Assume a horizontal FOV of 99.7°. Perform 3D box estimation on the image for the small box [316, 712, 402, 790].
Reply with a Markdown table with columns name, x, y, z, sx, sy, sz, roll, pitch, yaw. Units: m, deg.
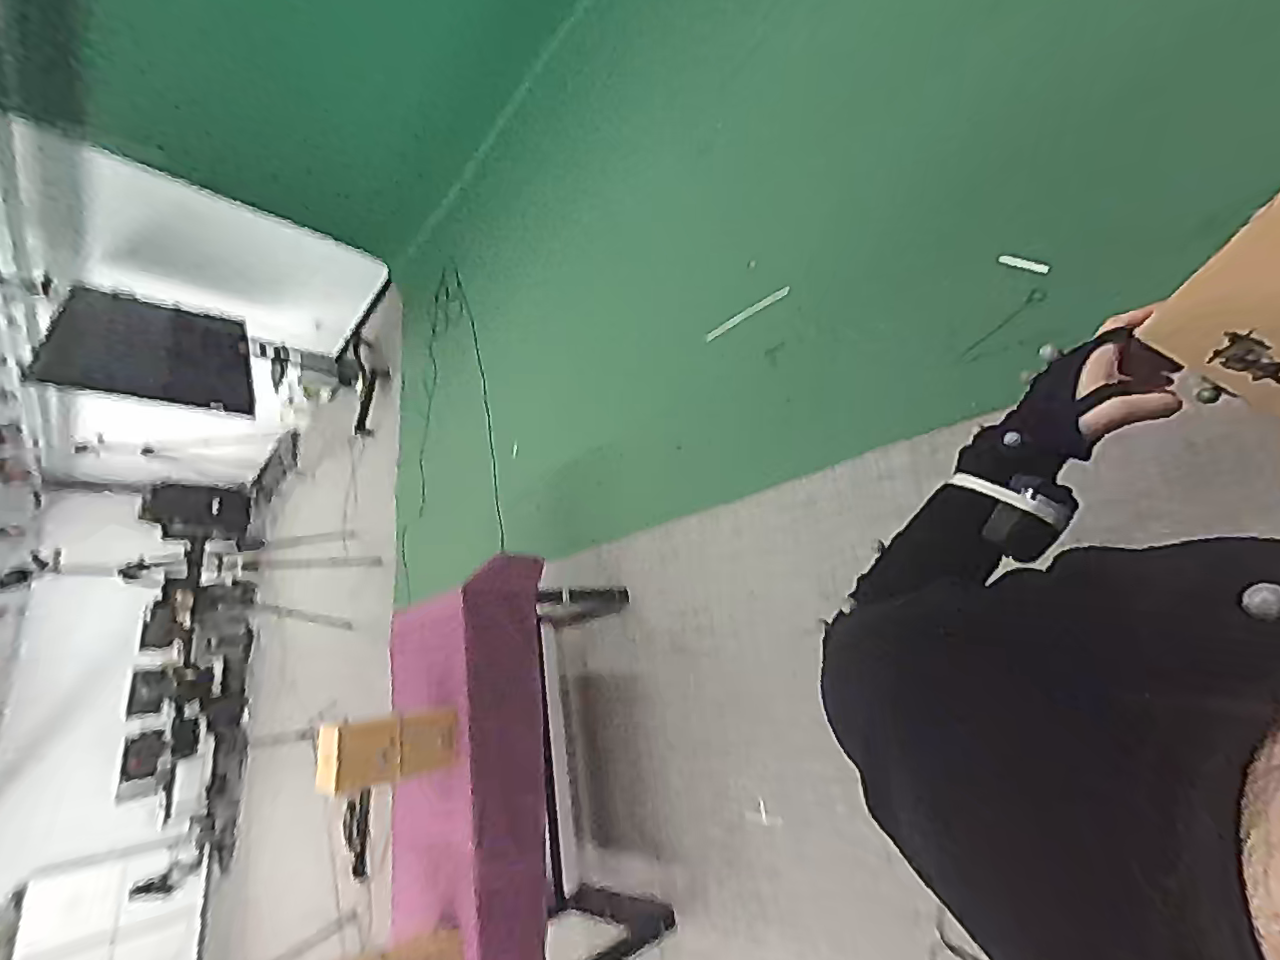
| name | x | y | z | sx | sy | sz | roll | pitch | yaw |
| --- | --- | --- | --- | --- | --- | --- | --- | --- | --- |
| small box | -0.793 | 0.759 | 1.528 | 0.179 | 0.176 | 0.168 | -23 | 67 | 41 |

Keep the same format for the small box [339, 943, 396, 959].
| name | x | y | z | sx | sy | sz | roll | pitch | yaw |
| --- | --- | --- | --- | --- | --- | --- | --- | --- | --- |
| small box | -0.708 | 1.298 | 1.341 | 0.168 | 0.176 | 0.179 | -29 | 63 | 40 |

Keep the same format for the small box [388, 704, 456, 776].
| name | x | y | z | sx | sy | sz | roll | pitch | yaw |
| --- | --- | --- | --- | --- | --- | --- | --- | --- | --- |
| small box | -0.674 | 0.781 | 1.638 | 0.179 | 0.176 | 0.168 | -23 | 68 | 42 |
